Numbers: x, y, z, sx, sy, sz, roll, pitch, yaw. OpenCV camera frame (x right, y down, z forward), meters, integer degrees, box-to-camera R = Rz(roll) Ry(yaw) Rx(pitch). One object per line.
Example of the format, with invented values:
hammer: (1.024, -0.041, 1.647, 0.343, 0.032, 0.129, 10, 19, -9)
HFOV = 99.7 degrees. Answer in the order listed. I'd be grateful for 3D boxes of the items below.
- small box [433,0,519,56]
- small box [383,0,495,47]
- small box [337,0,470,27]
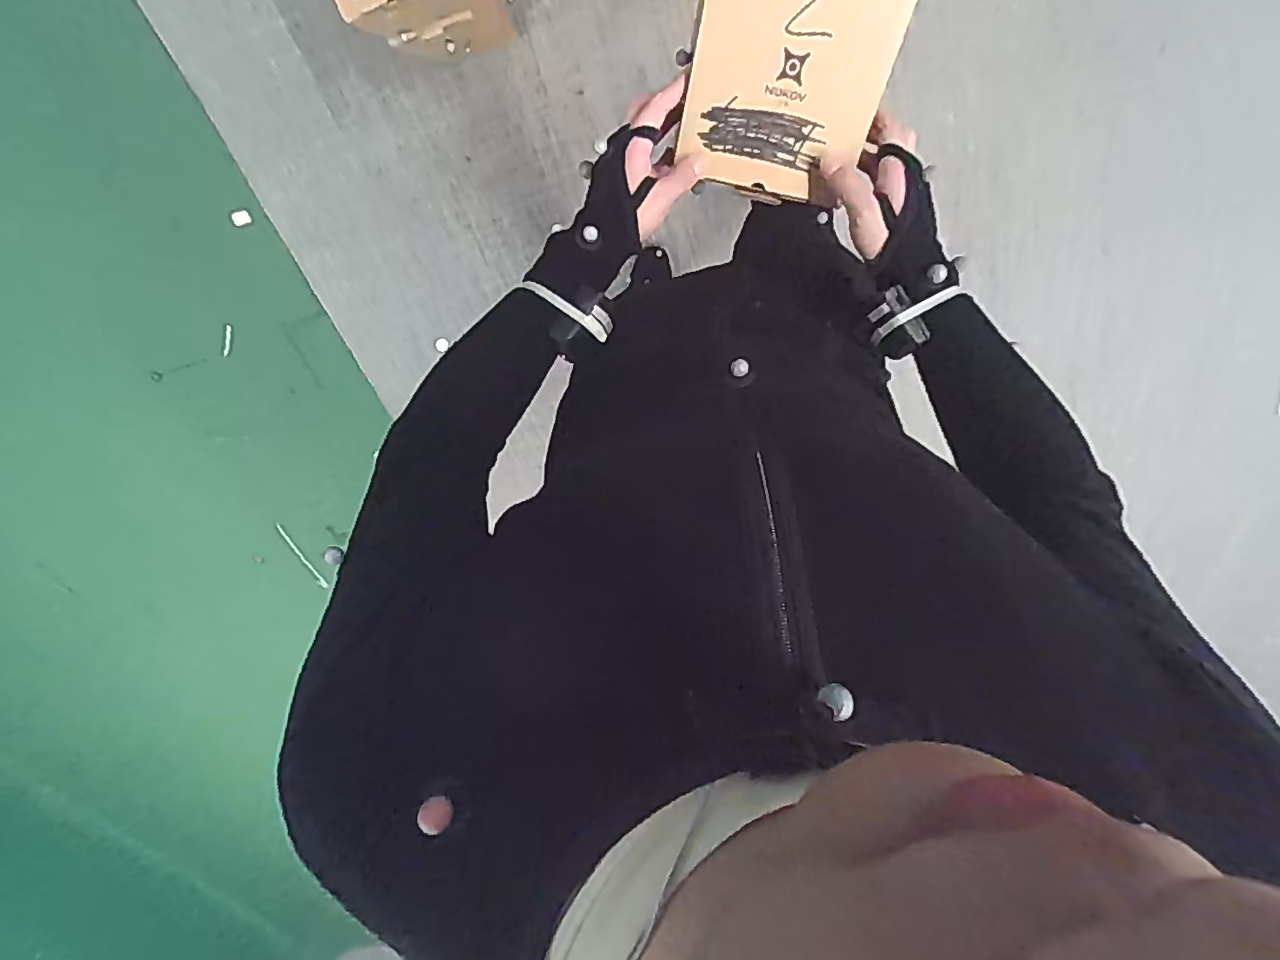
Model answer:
small box: (-0.366, -0.987, 1.092, 0.179, 0.176, 0.168, -10, 122, 9)
small box: (-0.377, -0.896, 0.957, 0.168, 0.176, 0.179, -10, 122, 9)
small box: (-0.378, -0.817, 0.812, 0.168, 0.176, 0.179, -11, 121, 10)
